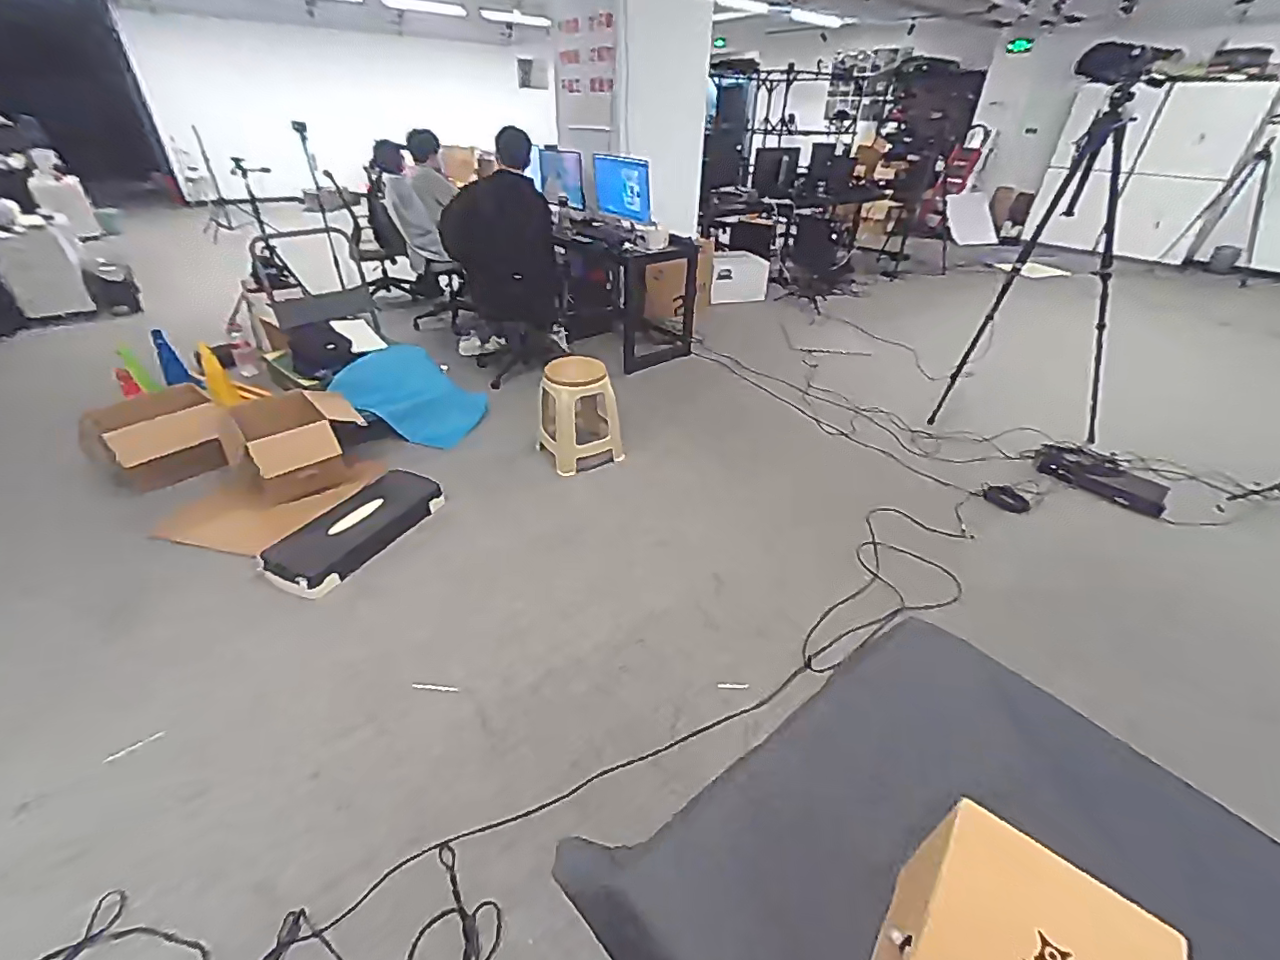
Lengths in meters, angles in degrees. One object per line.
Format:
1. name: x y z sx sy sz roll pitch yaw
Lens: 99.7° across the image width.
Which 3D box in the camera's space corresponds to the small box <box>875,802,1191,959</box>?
1. small box: 0.304 0.426 0.448 0.168 0.176 0.179 27 42 28
